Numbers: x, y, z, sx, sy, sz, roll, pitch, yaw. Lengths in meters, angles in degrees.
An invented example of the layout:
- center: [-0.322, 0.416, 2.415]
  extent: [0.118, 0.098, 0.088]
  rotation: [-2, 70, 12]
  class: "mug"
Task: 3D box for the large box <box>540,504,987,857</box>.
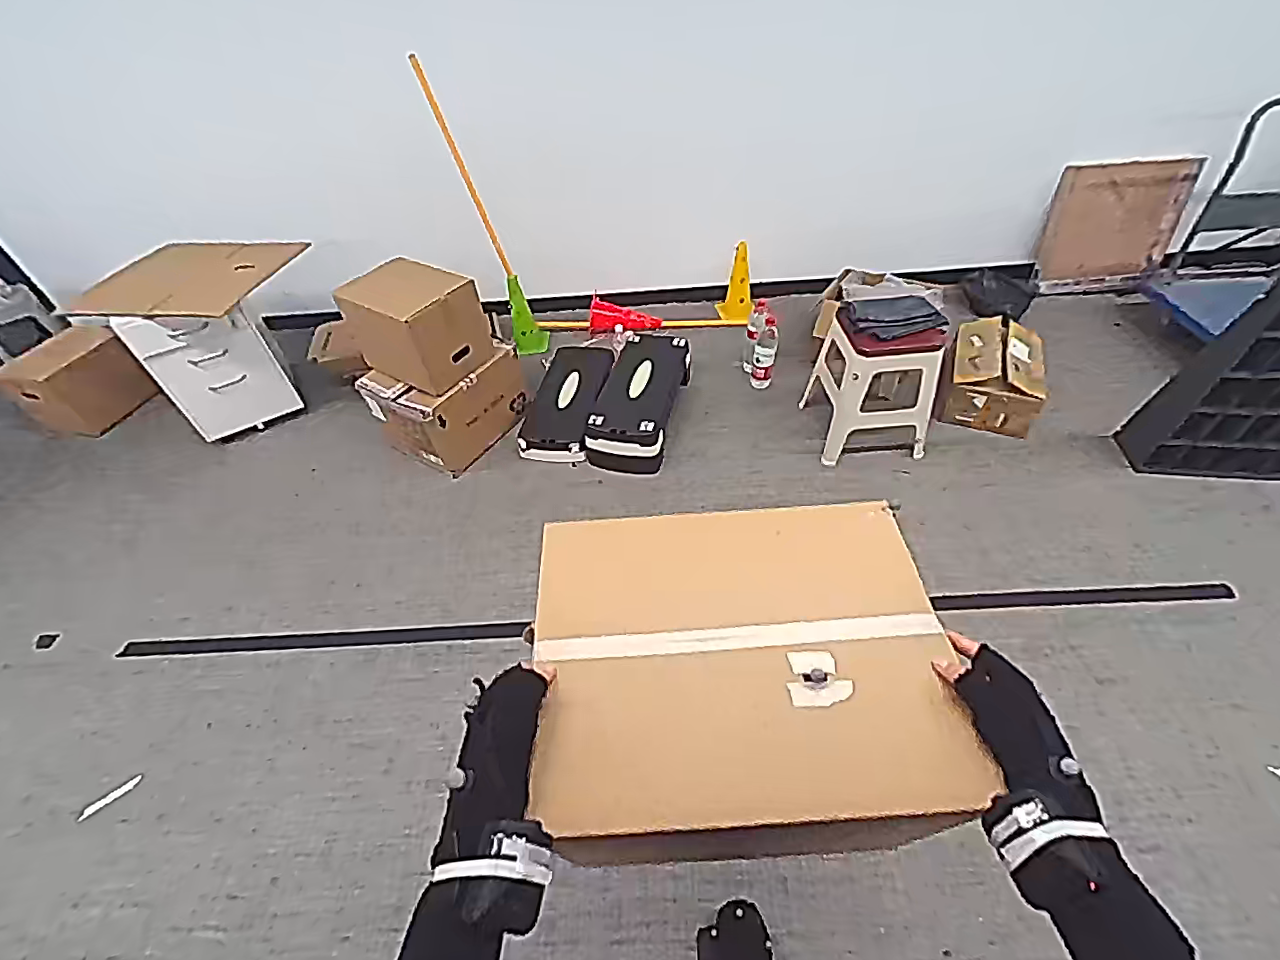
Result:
- center: [0.102, 0.256, 0.677]
  extent: [0.408, 0.320, 0.320]
  rotation: [-4, 52, -1]
  class: "large box"
